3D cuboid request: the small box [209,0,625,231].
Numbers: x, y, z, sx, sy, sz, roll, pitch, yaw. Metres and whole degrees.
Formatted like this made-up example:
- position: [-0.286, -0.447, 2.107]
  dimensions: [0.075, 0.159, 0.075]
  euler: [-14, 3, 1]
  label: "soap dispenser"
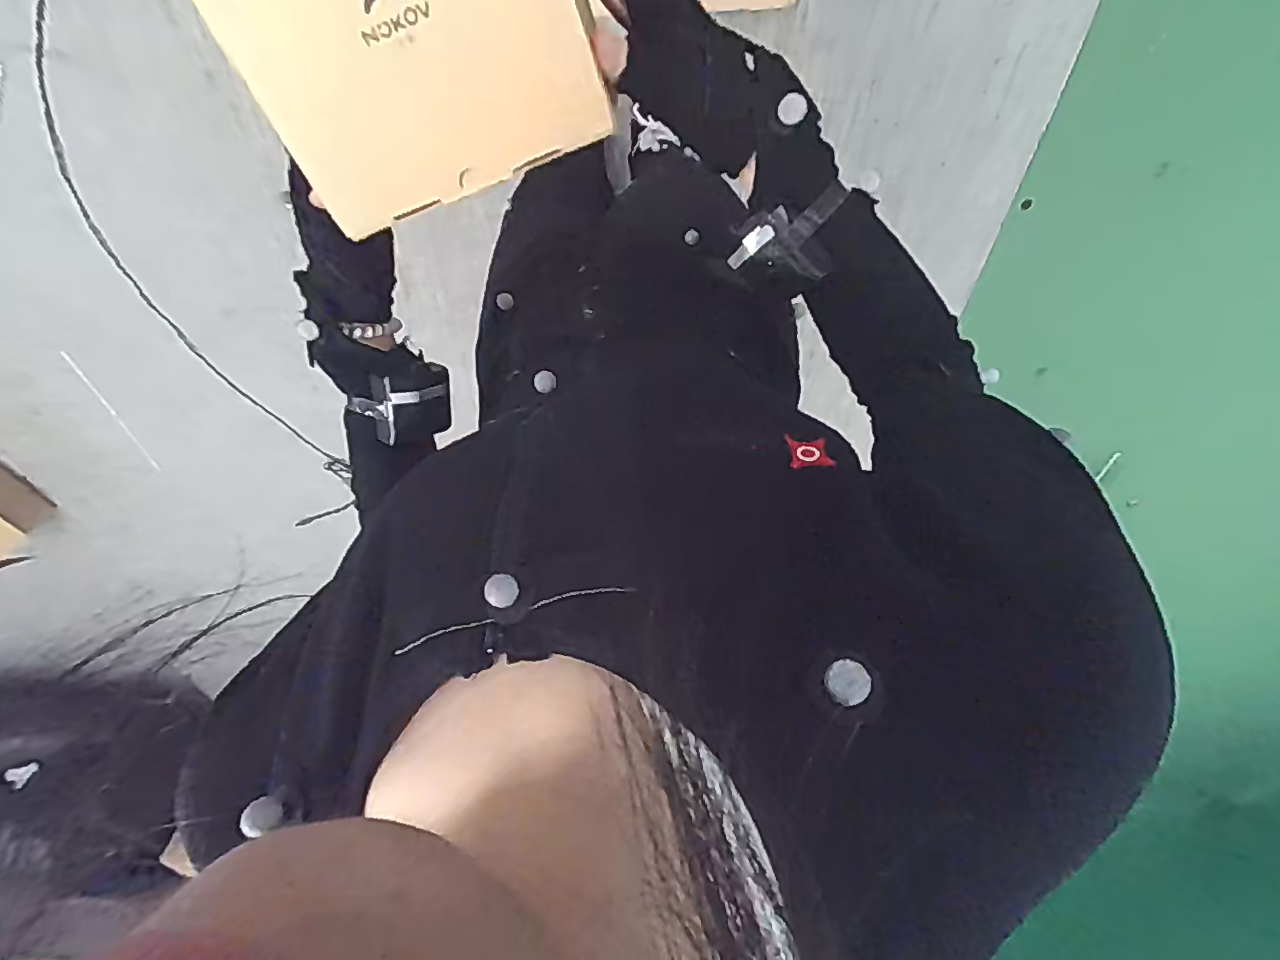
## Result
- position: [-0.116, -0.277, 0.305]
  dimensions: [0.168, 0.176, 0.179]
  euler: [-17, 130, 11]
  label: "small box"
